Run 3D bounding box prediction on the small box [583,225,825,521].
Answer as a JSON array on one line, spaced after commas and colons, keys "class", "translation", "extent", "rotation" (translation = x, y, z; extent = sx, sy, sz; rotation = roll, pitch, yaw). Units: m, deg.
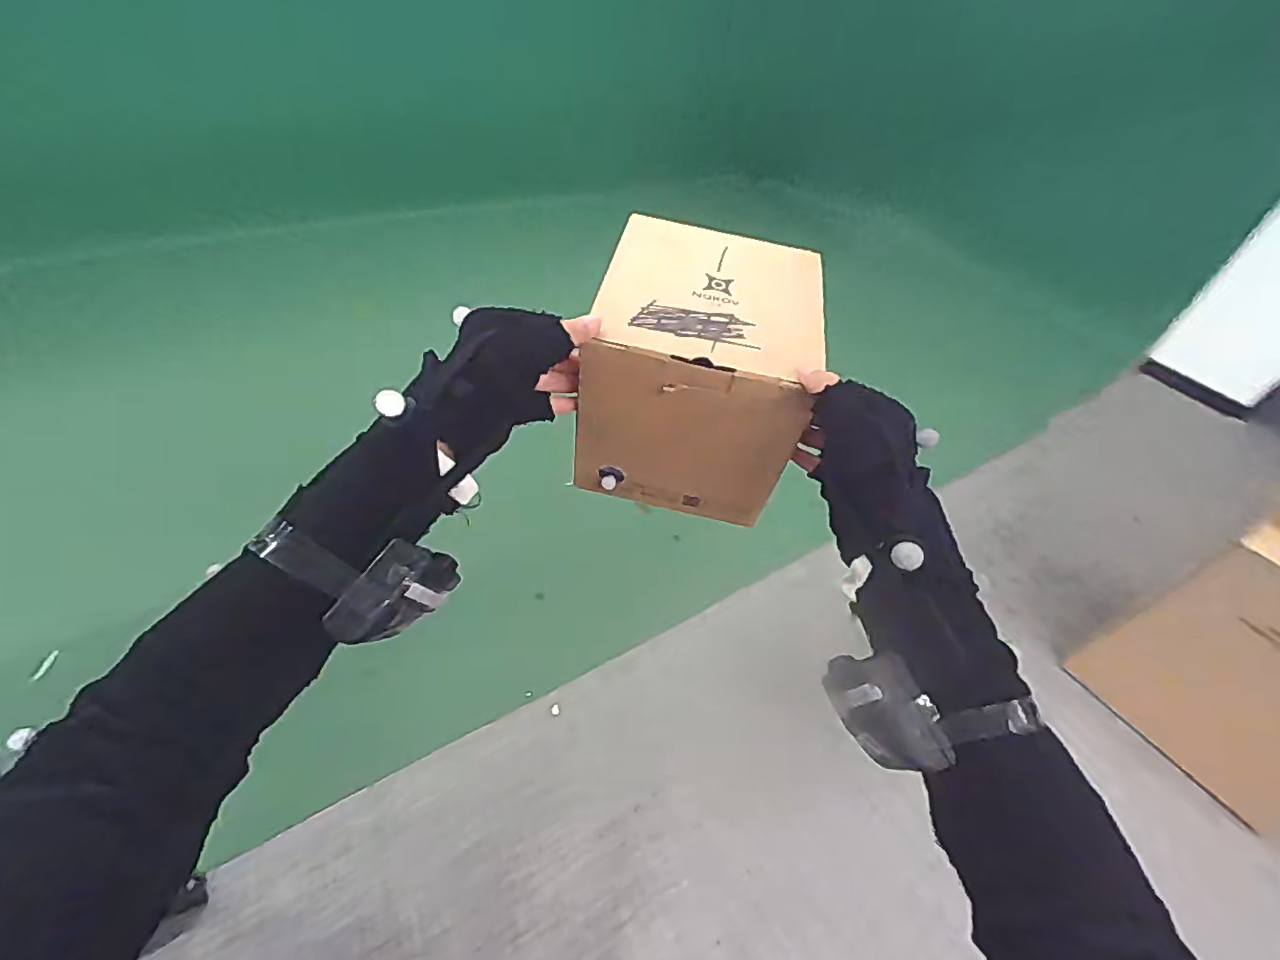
[{"class": "small box", "translation": [0.052, -0.089, 0.473], "extent": [0.168, 0.176, 0.179], "rotation": [13, 51, 2]}]
